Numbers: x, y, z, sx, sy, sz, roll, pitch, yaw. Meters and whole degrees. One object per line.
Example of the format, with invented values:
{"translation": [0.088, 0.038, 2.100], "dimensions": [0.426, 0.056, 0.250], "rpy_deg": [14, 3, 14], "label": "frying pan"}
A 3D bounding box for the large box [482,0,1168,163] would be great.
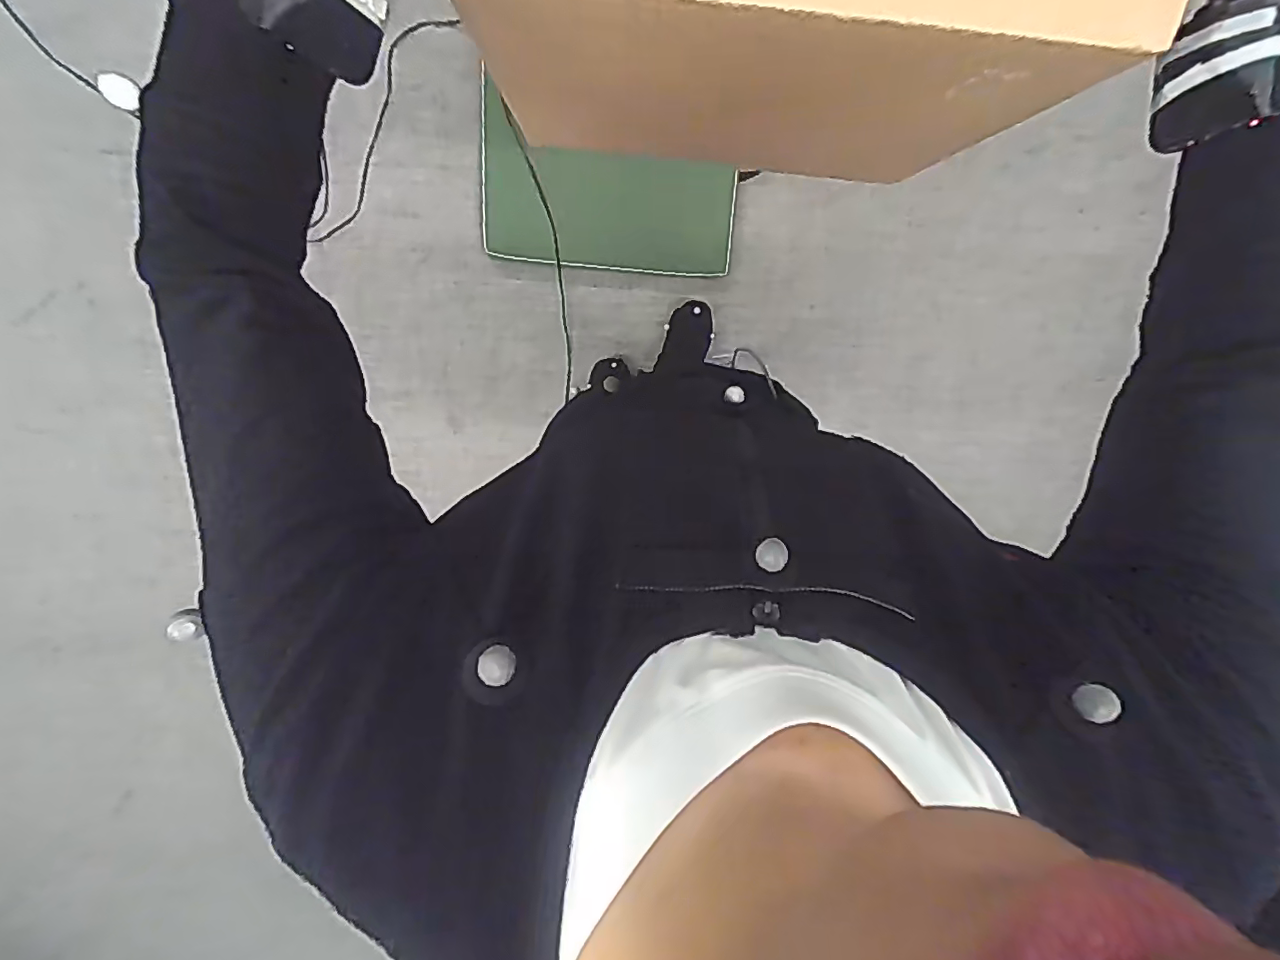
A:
{"translation": [0.100, -0.455, 0.394], "dimensions": [0.408, 0.320, 0.320], "rpy_deg": [3, 107, -4], "label": "large box"}
